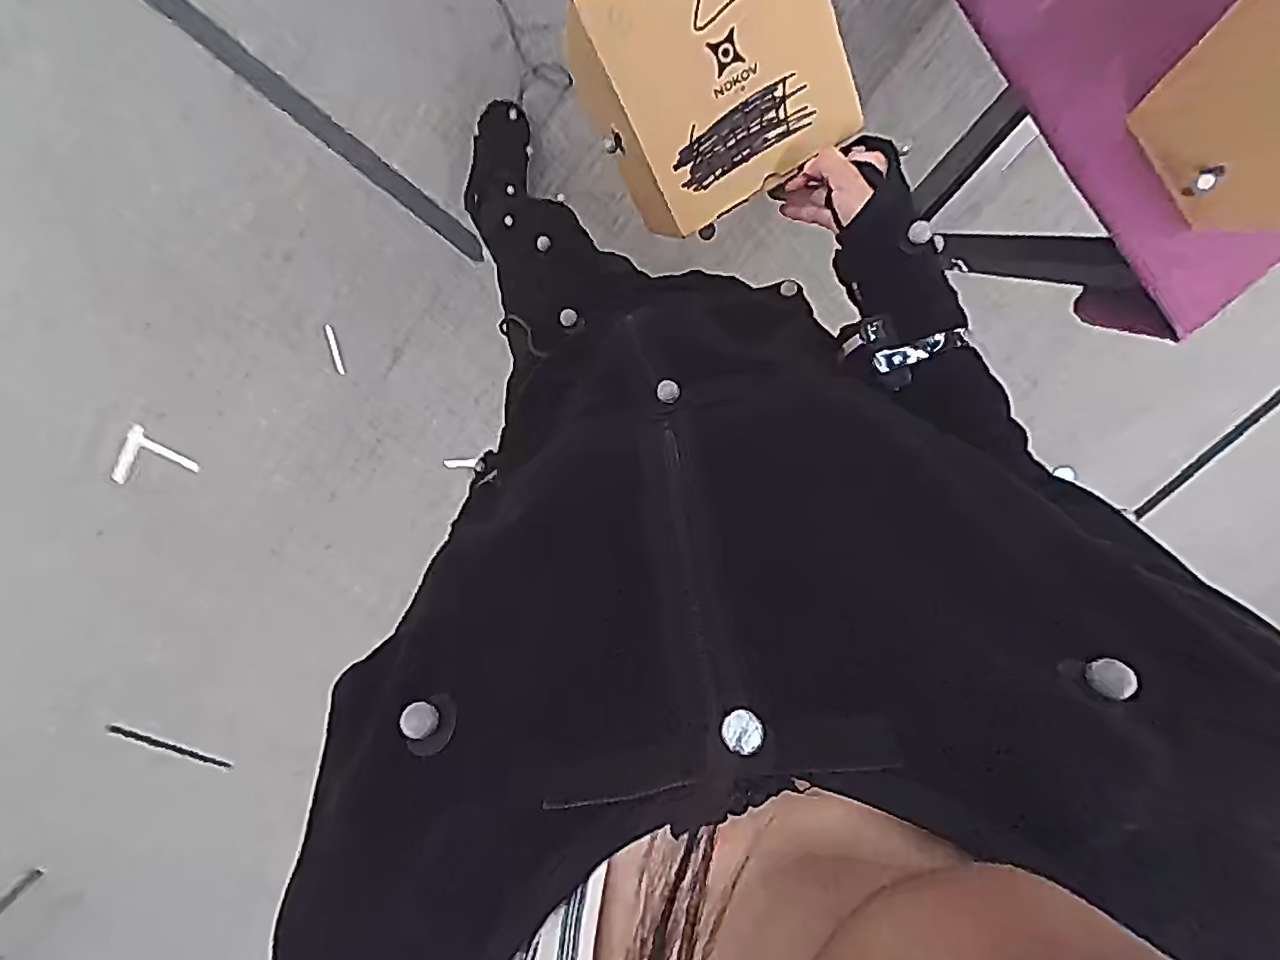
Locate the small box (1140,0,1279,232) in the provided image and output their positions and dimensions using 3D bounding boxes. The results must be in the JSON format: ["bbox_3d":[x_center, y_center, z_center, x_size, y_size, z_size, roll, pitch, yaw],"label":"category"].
[{"bbox_3d":[0.620,-0.347,0.478,0.168,0.176,0.179,35,106,-19],"label":"small box"}]
